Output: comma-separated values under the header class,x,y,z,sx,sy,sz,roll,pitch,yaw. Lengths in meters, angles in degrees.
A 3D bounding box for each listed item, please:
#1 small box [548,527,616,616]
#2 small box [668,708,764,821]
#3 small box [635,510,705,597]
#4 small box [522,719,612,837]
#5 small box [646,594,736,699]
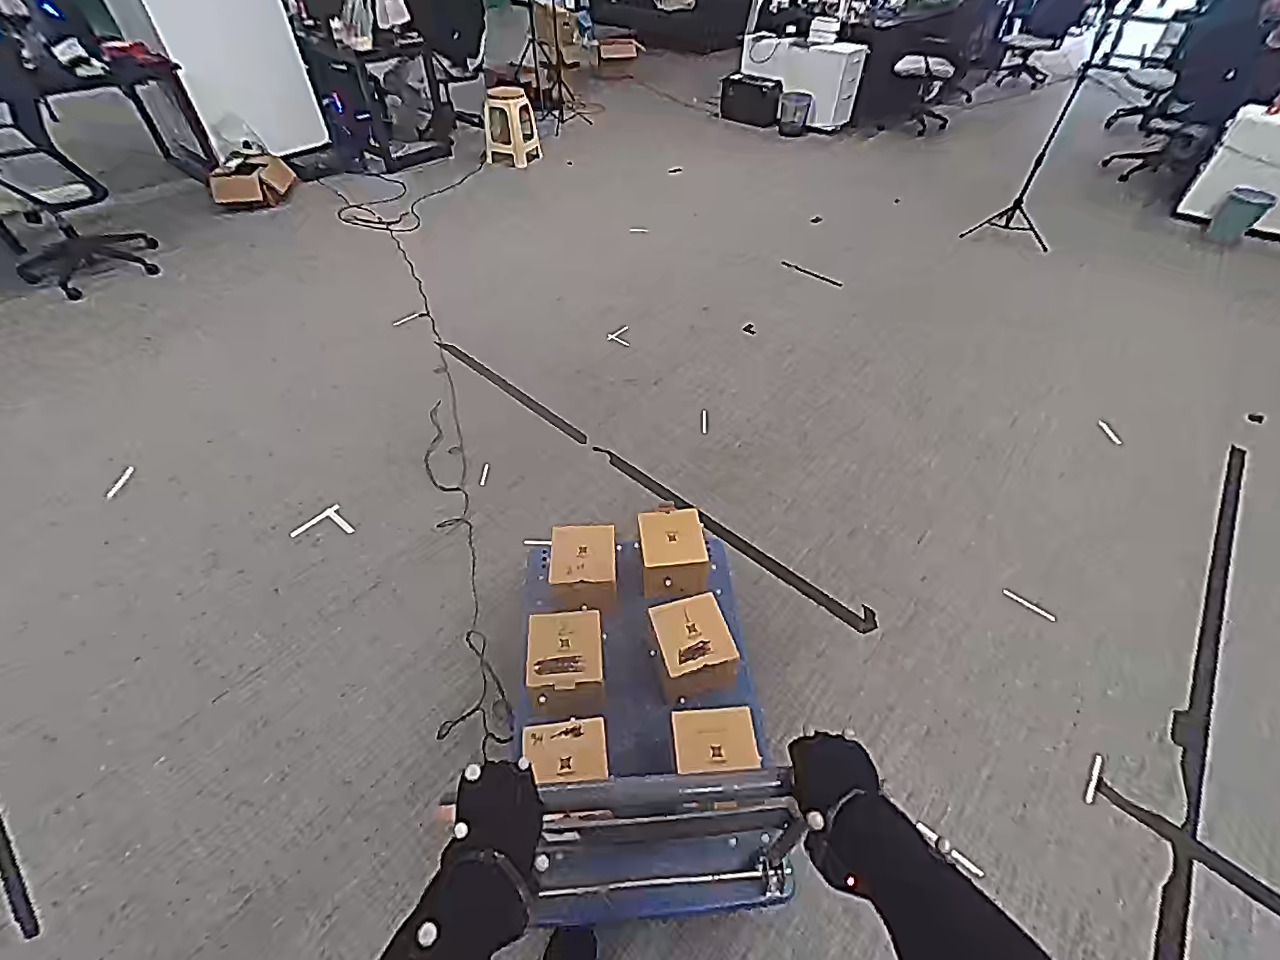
class,x,y,z,sx,sy,sz,roll,pitch,yaw
small box,-0.150,0.244,1.441,0.168,0.176,0.179,-2,49,-2
small box,0.150,0.597,1.129,0.168,0.176,0.179,-2,47,-3
small box,0.079,0.206,1.481,0.168,0.176,0.179,-5,48,-5
small box,-0.147,0.614,1.106,0.168,0.176,0.179,-5,48,-7
small box,0.116,0.406,1.299,0.168,0.176,0.179,-12,48,-11
